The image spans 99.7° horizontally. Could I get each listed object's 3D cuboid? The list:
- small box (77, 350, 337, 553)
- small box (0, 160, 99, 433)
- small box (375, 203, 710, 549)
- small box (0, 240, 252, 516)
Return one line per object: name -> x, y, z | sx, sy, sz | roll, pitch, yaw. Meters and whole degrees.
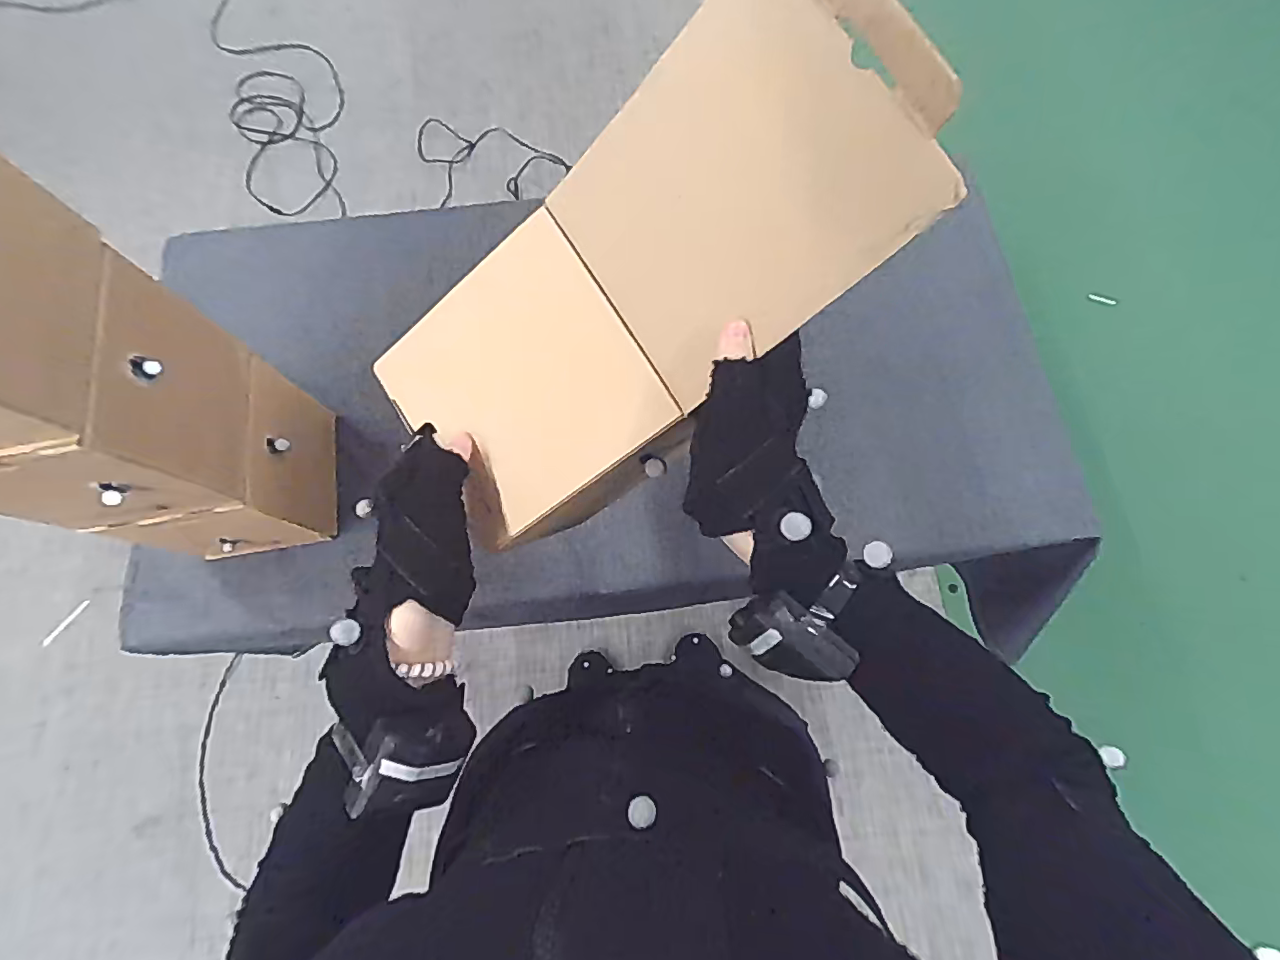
small box -> -0.478, -0.024, 0.628 | 0.168, 0.176, 0.179 | -9, 74, -2
small box -> -0.481, -0.126, 0.317 | 0.168, 0.176, 0.179 | -10, 74, -4
small box -> -0.058, -0.069, 0.432 | 0.179, 0.176, 0.168 | -34, 83, 16
small box -> -0.478, -0.072, 0.473 | 0.168, 0.176, 0.179 | -9, 74, -3
